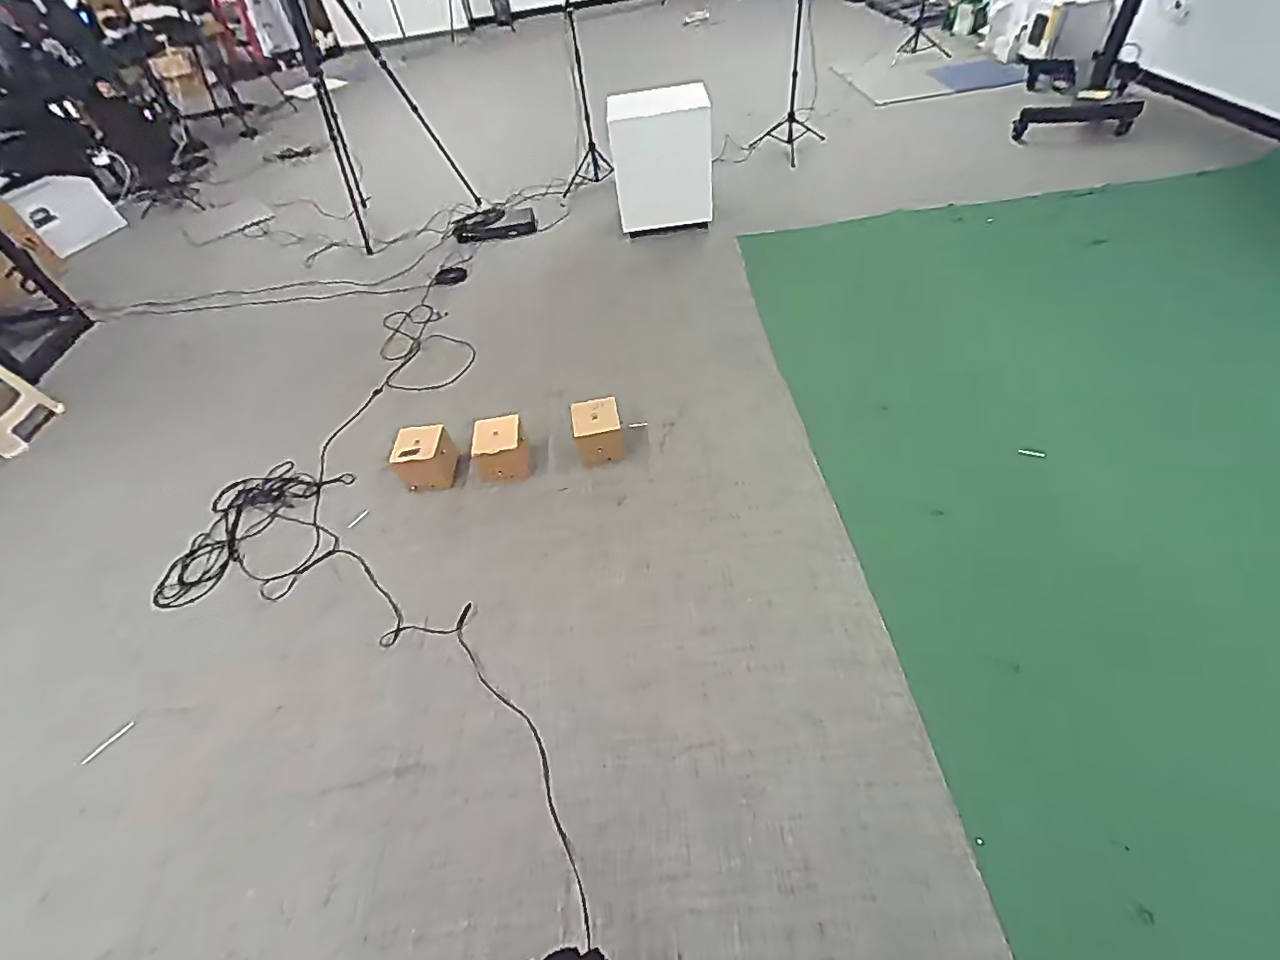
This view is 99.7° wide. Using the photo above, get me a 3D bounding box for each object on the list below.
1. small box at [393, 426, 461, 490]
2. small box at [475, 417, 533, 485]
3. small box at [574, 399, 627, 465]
[{"bbox_3d":[-0.789,-0.076,2.024,0.168,0.176,0.179,-5,49,4],"label":"small box"},{"bbox_3d":[-0.500,-0.108,2.010,0.168,0.176,0.179,-10,50,1],"label":"small box"},{"bbox_3d":[-0.146,-0.170,2.008,0.168,0.176,0.179,-10,50,-1],"label":"small box"}]
